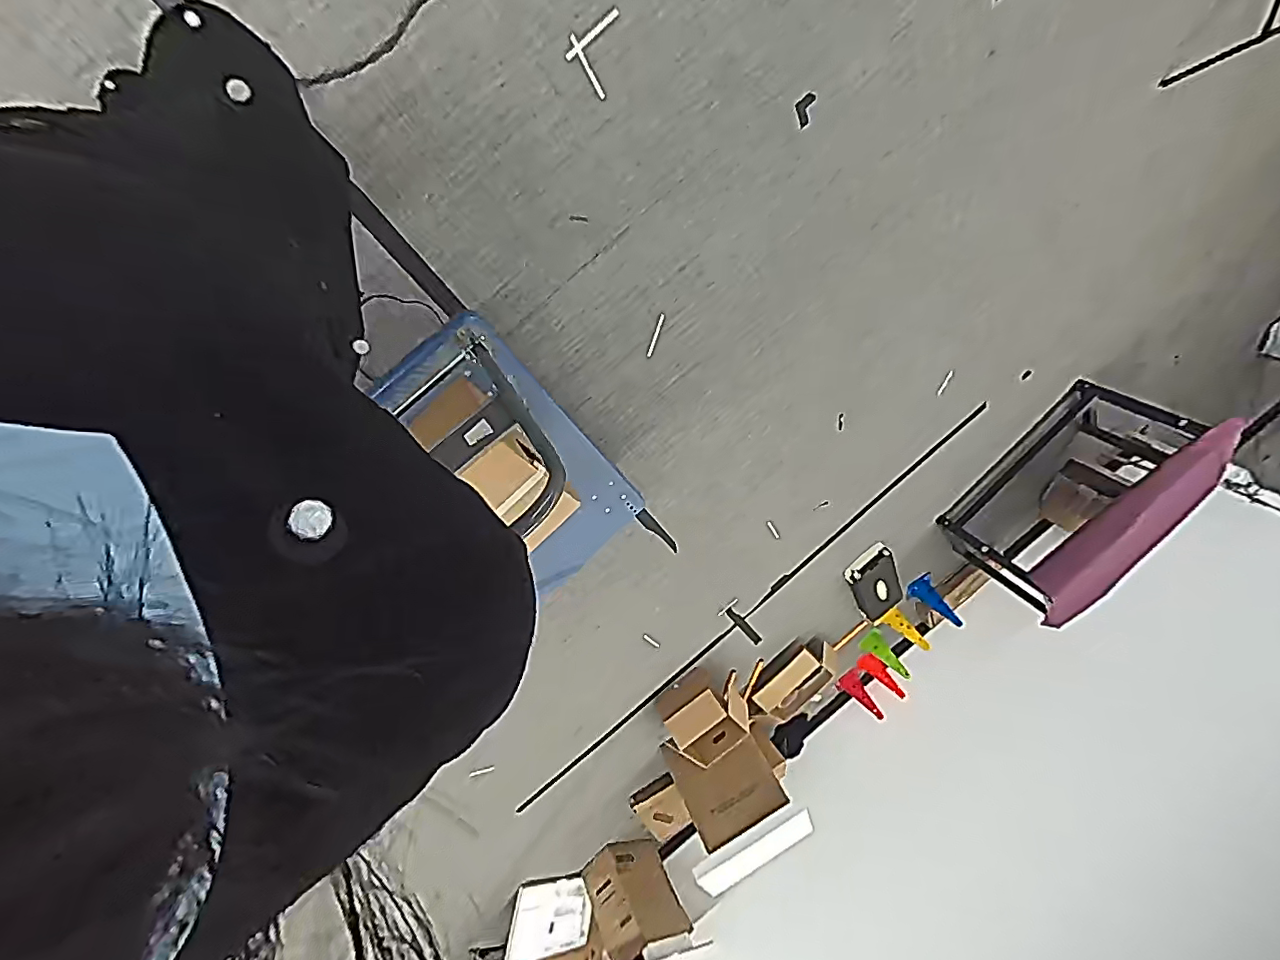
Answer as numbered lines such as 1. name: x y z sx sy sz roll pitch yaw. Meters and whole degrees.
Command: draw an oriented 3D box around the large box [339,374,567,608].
1. large box: -0.458 0.026 1.316 0.408 0.320 0.320 -43 133 3
